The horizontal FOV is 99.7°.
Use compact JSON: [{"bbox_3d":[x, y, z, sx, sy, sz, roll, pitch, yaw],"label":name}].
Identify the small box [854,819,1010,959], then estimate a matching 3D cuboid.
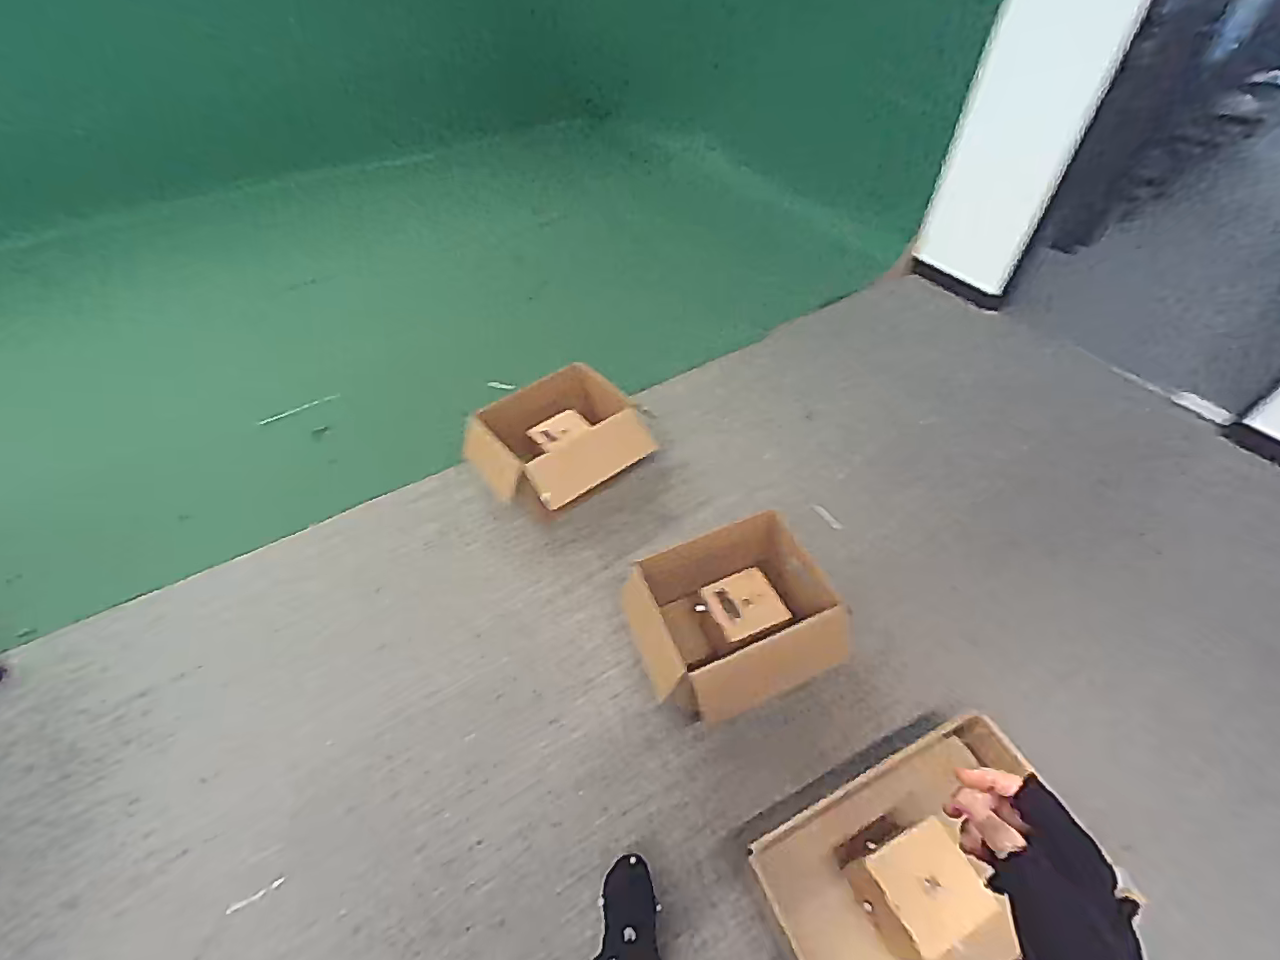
[{"bbox_3d":[0.547,0.790,1.042,0.179,0.176,0.168,-22,52,-14],"label":"small box"}]
